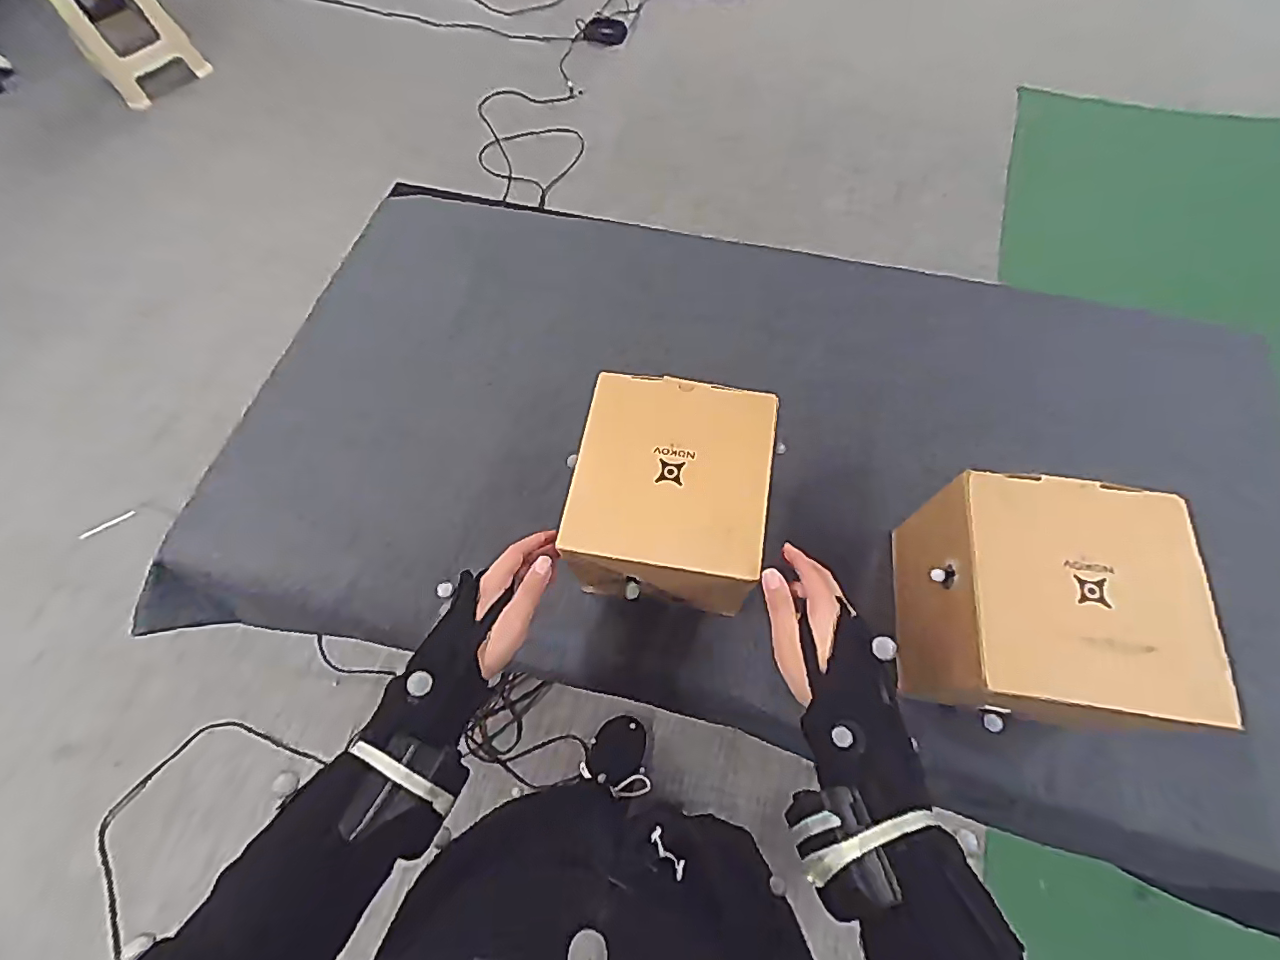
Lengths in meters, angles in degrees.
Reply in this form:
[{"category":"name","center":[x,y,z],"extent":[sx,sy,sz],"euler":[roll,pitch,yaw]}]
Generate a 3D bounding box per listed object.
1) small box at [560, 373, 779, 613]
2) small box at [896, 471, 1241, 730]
[{"category":"small box","center":[0.033,0.023,0.530],"extent":[0.168,0.176,0.179],"euler":[9,66,6]},{"category":"small box","center":[0.341,0.113,0.478],"extent":[0.168,0.176,0.179],"euler":[7,67,6]}]
